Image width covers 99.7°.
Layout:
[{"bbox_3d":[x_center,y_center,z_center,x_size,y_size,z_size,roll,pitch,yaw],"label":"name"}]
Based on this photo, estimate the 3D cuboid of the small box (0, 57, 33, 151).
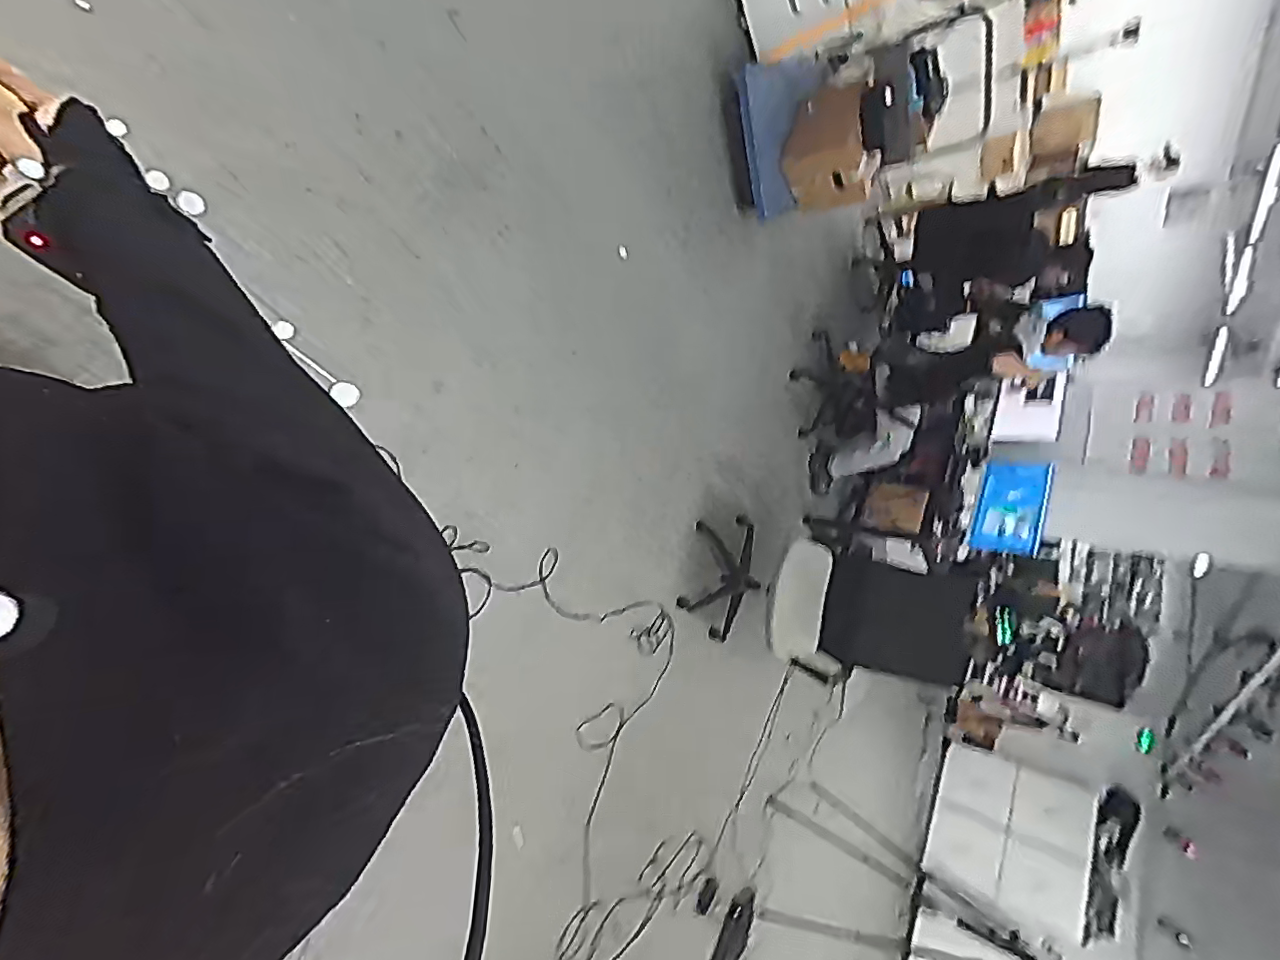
[{"bbox_3d":[-0.607,-0.302,0.385,0.168,0.176,0.179,-52,151,2],"label":"small box"}]
